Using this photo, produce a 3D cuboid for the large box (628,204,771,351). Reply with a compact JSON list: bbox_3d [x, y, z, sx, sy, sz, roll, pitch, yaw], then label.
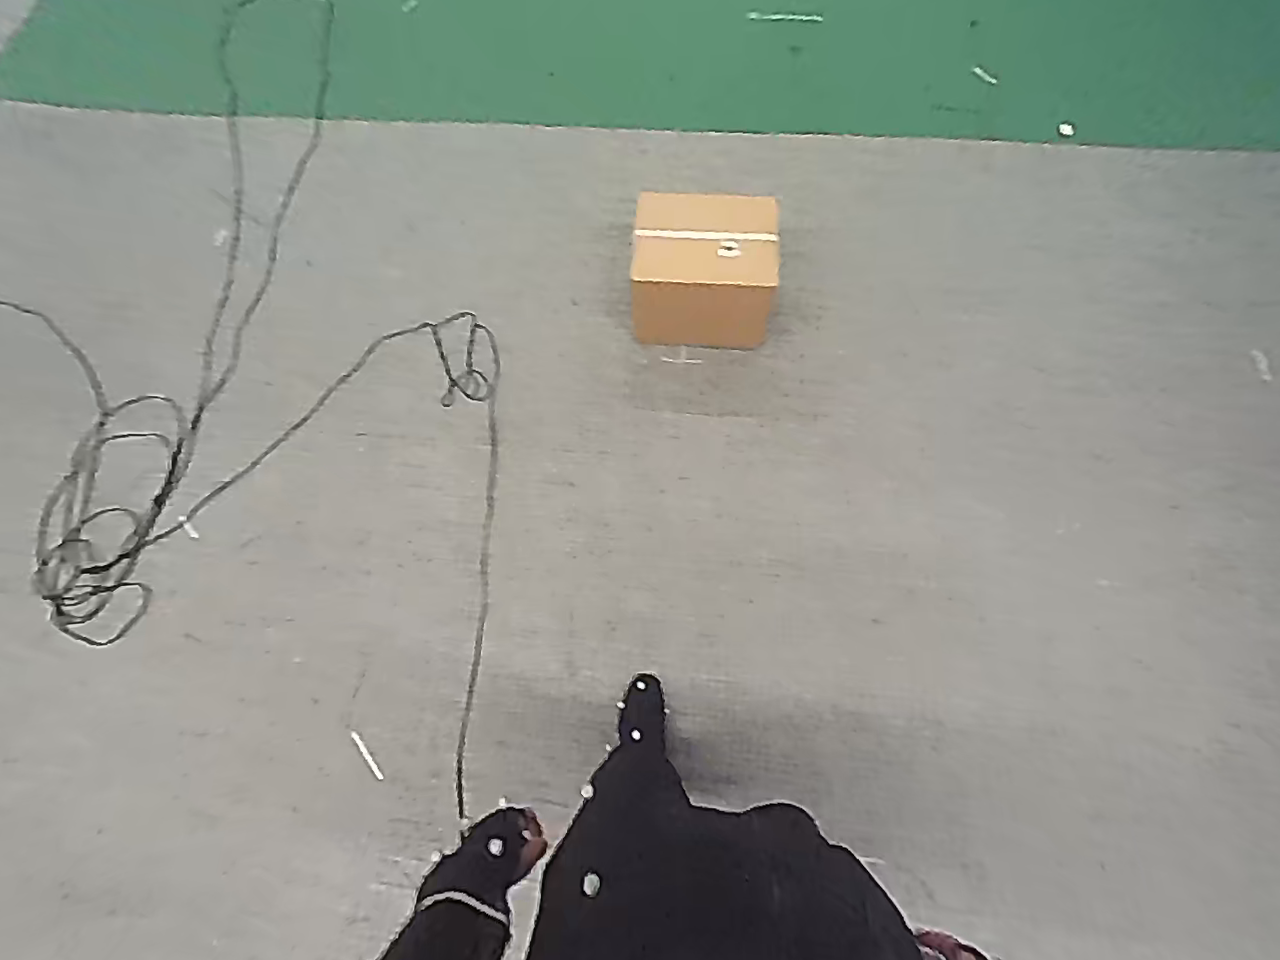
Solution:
[{"bbox_3d":[0.172,-0.616,1.678,0.408,0.320,0.320,3,71,3],"label":"large box"}]
